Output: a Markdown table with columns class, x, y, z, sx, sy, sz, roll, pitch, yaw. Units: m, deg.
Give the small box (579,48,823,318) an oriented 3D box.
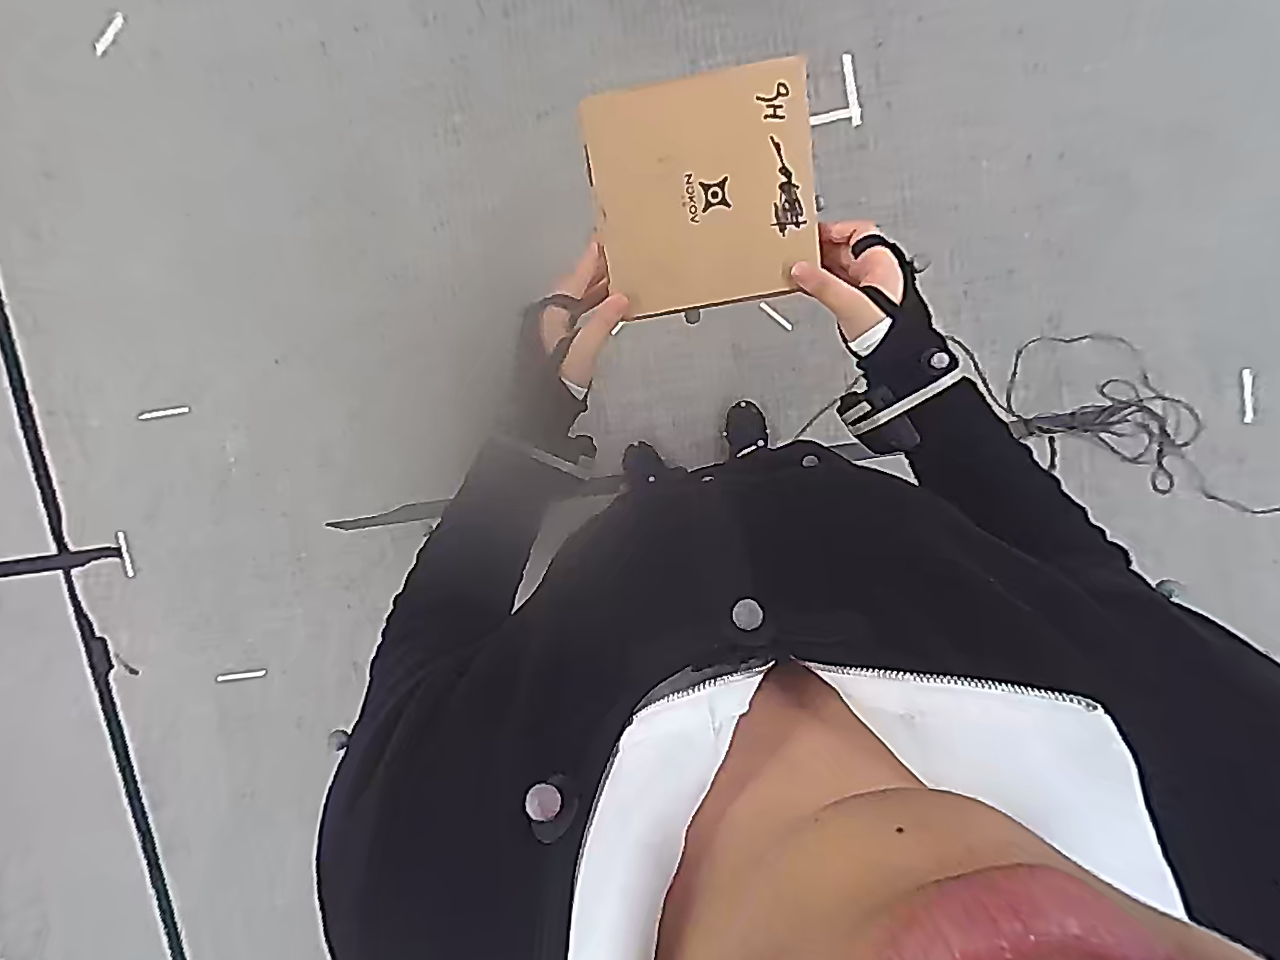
| class | x | y | z | sx | sy | sz | roll | pitch | yaw |
| --- | --- | --- | --- | --- | --- | --- | --- | --- | --- |
| small box | 0.053 | -0.248 | 0.499 | 0.179 | 0.176 | 0.168 | -9 | 105 | 4 |
